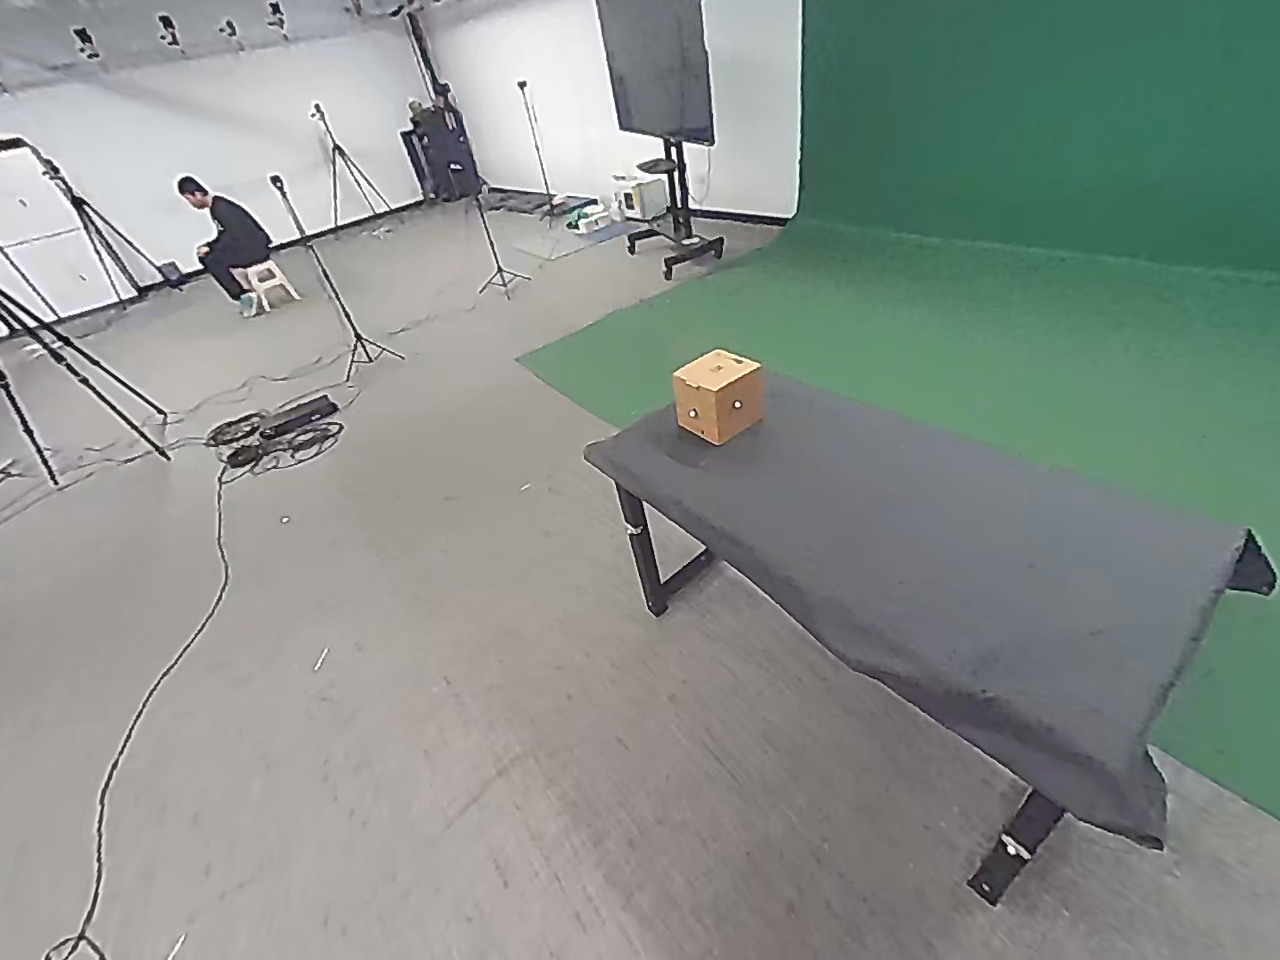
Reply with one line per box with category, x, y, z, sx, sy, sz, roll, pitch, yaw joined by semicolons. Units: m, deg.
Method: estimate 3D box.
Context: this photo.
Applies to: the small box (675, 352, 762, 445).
small box;0.220;-0.222;1.479;0.179;0.176;0.168;-32;43;-23
